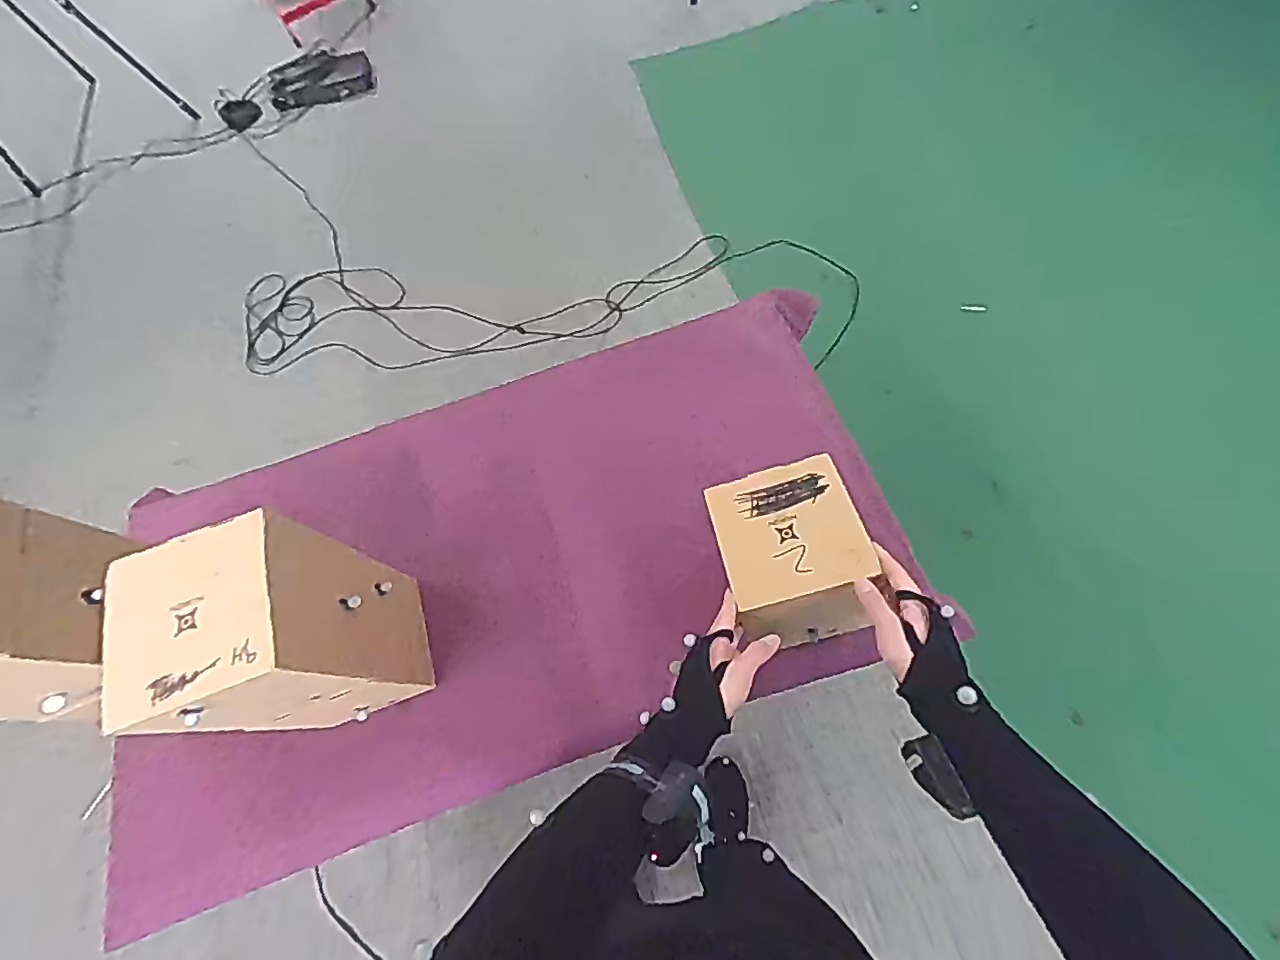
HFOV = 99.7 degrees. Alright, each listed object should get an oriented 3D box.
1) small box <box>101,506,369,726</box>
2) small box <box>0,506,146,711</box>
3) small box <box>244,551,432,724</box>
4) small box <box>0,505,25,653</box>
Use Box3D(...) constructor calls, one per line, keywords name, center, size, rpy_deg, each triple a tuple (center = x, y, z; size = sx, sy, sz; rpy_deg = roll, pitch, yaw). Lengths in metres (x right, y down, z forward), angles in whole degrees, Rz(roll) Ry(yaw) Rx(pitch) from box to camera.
Box3D(name="small box", center=(-0.431, 0.158, 0.602), size=(0.168, 0.176, 0.179), rpy_deg=(-20, 66, -2))
Box3D(name="small box", center=(-0.709, 0.159, 0.635), size=(0.168, 0.176, 0.179), rpy_deg=(-22, 68, -2))
Box3D(name="small box", center=(-0.414, 0.223, 0.752), size=(0.168, 0.176, 0.179), rpy_deg=(-20, 67, -2))
Box3D(name="small box", center=(-0.726, 0.099, 0.485), size=(0.168, 0.176, 0.179), rpy_deg=(-22, 67, -2))
